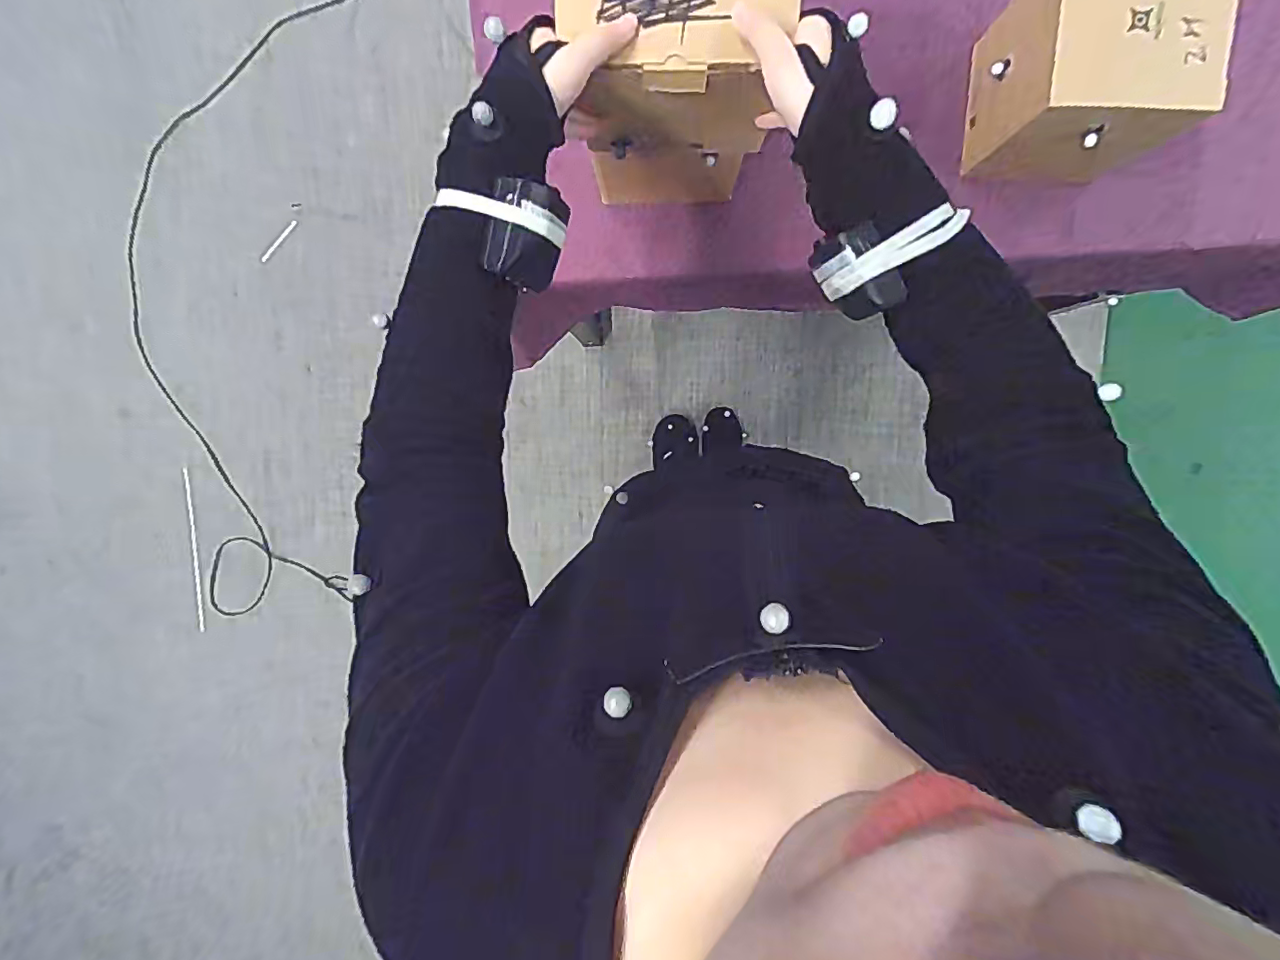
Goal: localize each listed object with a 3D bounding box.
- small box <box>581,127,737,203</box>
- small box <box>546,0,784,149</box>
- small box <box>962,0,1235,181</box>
[{"bbox_3d":[0.027,-0.448,0.645,0.179,0.176,0.168,-1,96,2],"label":"small box"},{"bbox_3d":[0.024,-0.387,0.433,0.168,0.176,0.179,2,102,3],"label":"small box"},{"bbox_3d":[0.504,-0.465,0.619,0.179,0.176,0.168,4,97,2],"label":"small box"}]
